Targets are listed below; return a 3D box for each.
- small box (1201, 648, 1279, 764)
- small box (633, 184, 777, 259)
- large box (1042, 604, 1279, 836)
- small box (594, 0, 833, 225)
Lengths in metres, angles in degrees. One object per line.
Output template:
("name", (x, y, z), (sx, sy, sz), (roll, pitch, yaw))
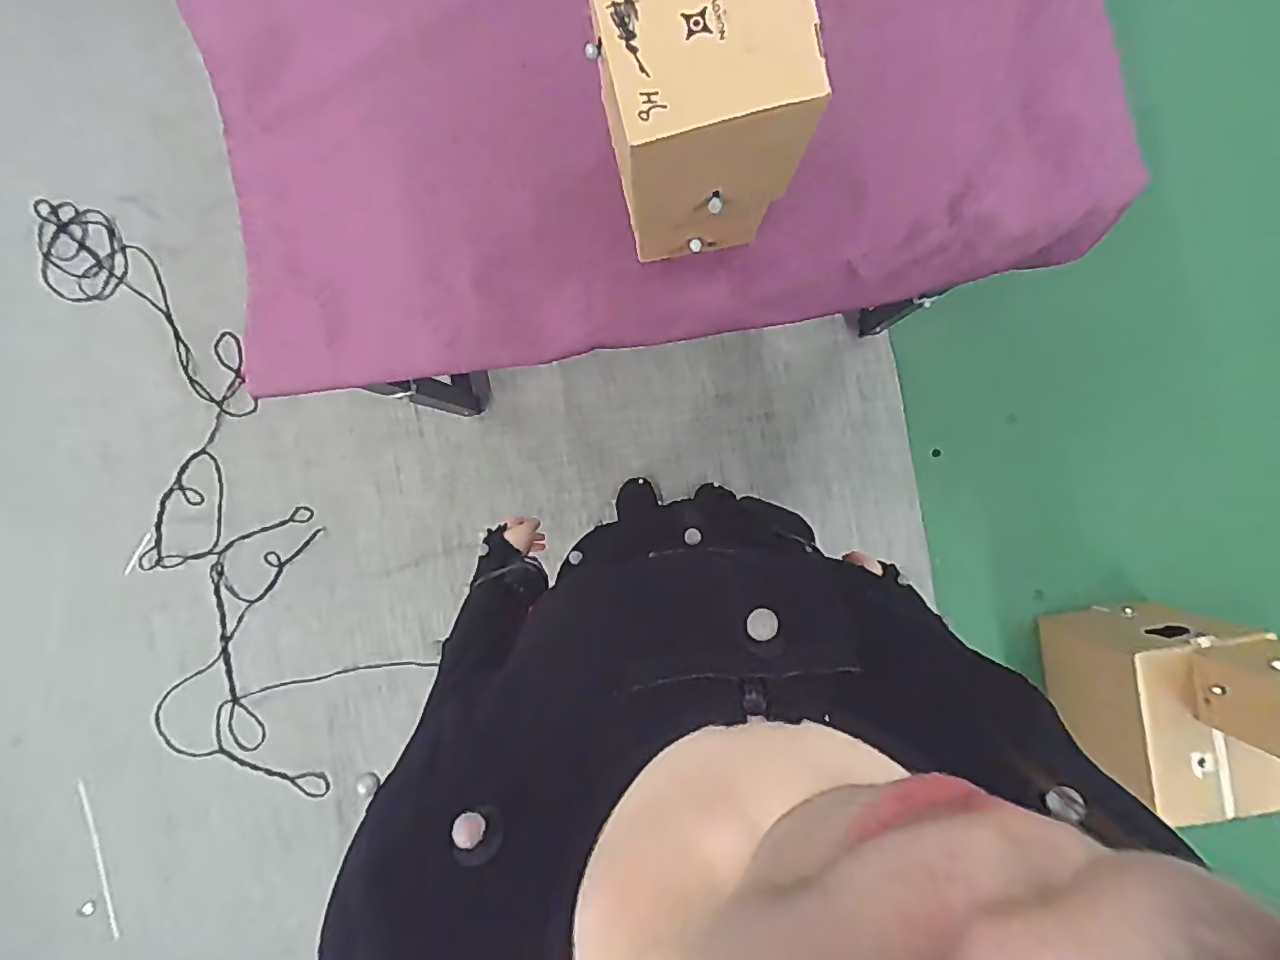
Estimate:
("small box", (1.298, 0.450, 1.081), (0.179, 0.176, 0.168), (-9, 91, 1))
("small box", (0.064, -0.406, 0.679), (0.168, 0.176, 0.179), (-9, 91, 2))
("large box", (1.270, 0.558, 1.326), (0.320, 0.320, 0.408), (-9, 92, 2))
("small box", (0.057, -0.374, 0.516), (0.179, 0.176, 0.168), (-13, 91, 2))
